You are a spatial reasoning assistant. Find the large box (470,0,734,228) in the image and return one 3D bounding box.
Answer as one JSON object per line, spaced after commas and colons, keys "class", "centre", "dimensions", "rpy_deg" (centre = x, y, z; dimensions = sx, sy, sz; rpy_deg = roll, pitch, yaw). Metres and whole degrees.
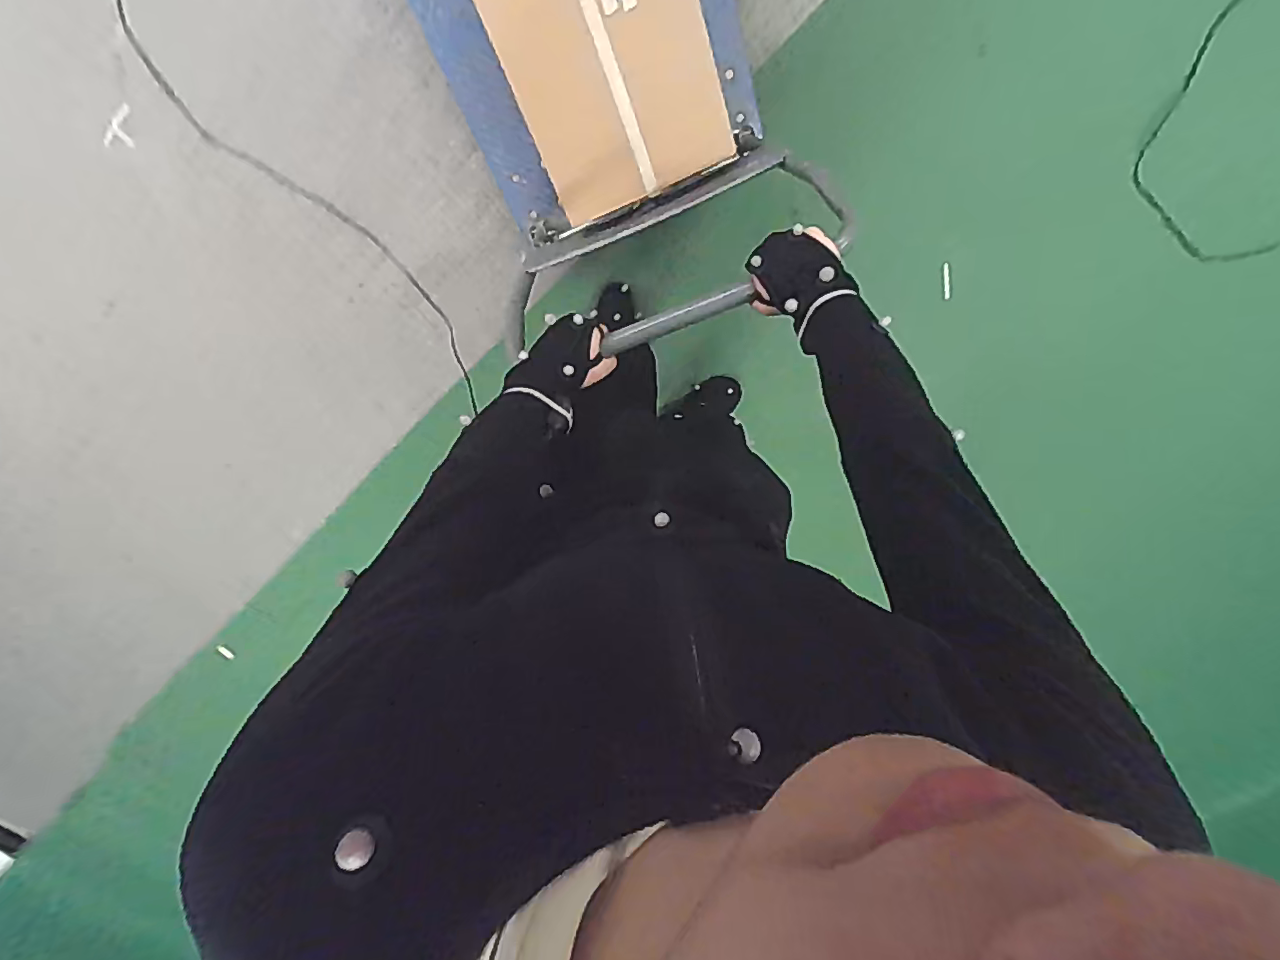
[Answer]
{"class": "large box", "centre": [-0.057, -0.736, 0.973], "dimensions": [0.320, 0.320, 0.408], "rpy_deg": [-20, 121, 10]}
